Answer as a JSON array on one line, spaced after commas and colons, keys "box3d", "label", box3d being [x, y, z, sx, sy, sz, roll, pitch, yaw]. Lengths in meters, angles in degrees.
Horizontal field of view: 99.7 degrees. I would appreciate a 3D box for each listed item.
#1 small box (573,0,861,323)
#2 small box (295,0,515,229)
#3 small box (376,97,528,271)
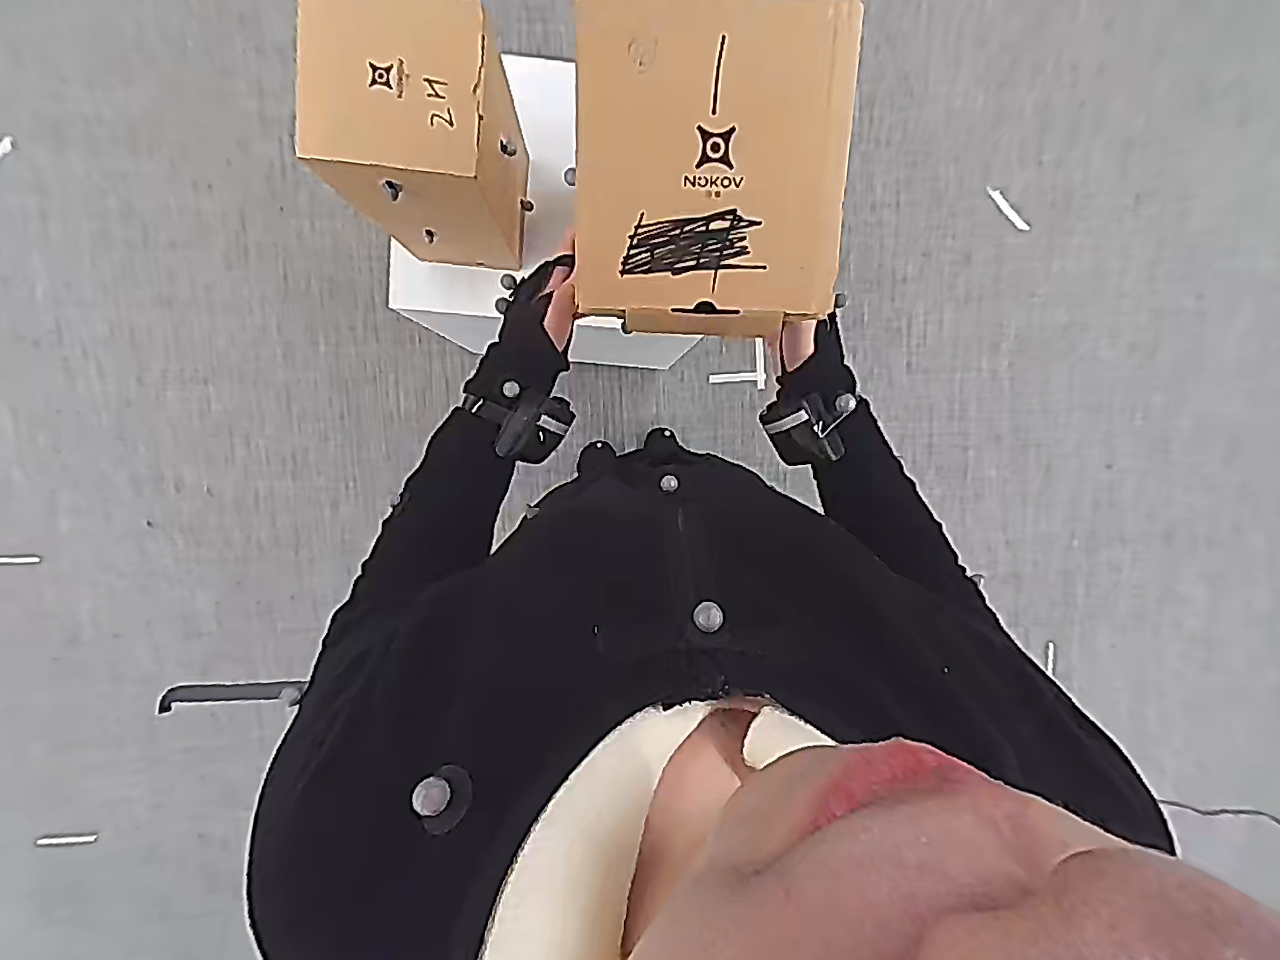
[{"box3d": [0.041, -0.211, 0.405, 0.168, 0.176, 0.179, 1, 105, -1], "label": "small box"}, {"box3d": [-0.245, -0.396, 0.599, 0.179, 0.176, 0.168, 4, 97, -4], "label": "small box"}, {"box3d": [-0.255, -0.417, 0.762, 0.168, 0.176, 0.179, 5, 95, -4], "label": "small box"}]
